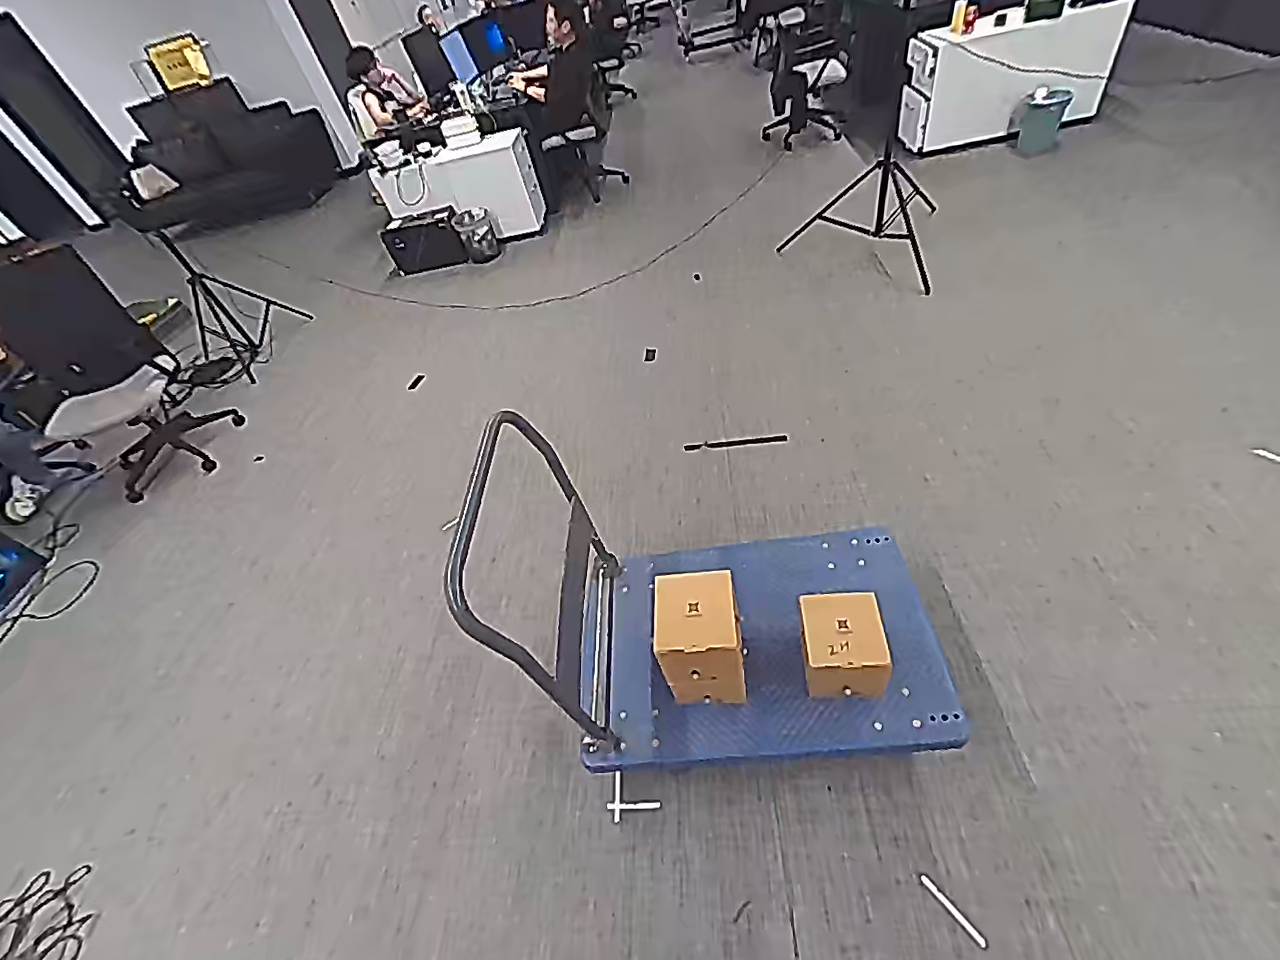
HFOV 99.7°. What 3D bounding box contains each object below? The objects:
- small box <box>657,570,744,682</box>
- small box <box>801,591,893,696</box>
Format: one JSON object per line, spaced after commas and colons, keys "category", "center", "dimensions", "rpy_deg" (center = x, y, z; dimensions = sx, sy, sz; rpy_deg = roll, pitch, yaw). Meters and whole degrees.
{"category": "small box", "center": [0.130, 0.315, 1.164], "dimensions": [0.168, 0.176, 0.179], "rpy_deg": [-7, 48, 10]}
{"category": "small box", "center": [0.464, 0.375, 1.240], "dimensions": [0.168, 0.176, 0.179], "rpy_deg": [-6, 47, 12]}
